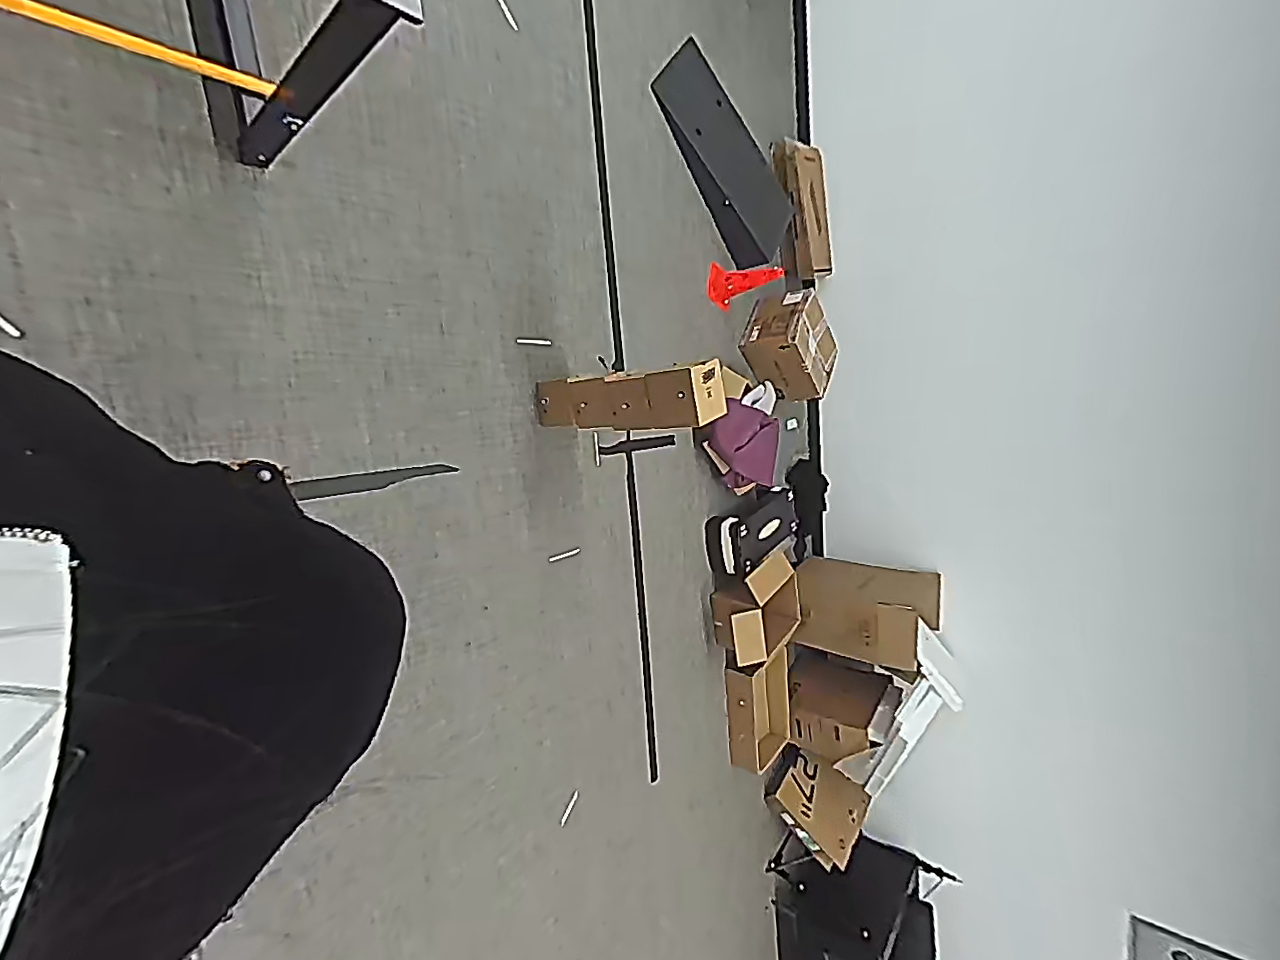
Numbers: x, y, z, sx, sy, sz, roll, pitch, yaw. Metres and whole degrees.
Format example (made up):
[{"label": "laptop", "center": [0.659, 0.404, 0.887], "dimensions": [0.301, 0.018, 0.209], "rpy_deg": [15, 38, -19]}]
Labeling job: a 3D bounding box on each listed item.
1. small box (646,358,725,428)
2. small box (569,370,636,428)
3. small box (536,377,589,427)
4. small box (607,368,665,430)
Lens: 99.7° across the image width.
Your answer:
[{"label": "small box", "center": [0.138, -0.263, 1.655], "dimensions": [0.168, 0.176, 0.179], "rpy_deg": [-29, 113, -46]}, {"label": "small box", "center": [-0.116, -0.279, 1.865], "dimensions": [0.179, 0.176, 0.168], "rpy_deg": [-25, 109, -47]}, {"label": "small box", "center": [-0.250, -0.284, 1.961], "dimensions": [0.179, 0.176, 0.168], "rpy_deg": [-18, 104, -47]}, {"label": "small box", "center": [0.009, -0.262, 1.759], "dimensions": [0.179, 0.176, 0.168], "rpy_deg": [-28, 112, -46]}]
